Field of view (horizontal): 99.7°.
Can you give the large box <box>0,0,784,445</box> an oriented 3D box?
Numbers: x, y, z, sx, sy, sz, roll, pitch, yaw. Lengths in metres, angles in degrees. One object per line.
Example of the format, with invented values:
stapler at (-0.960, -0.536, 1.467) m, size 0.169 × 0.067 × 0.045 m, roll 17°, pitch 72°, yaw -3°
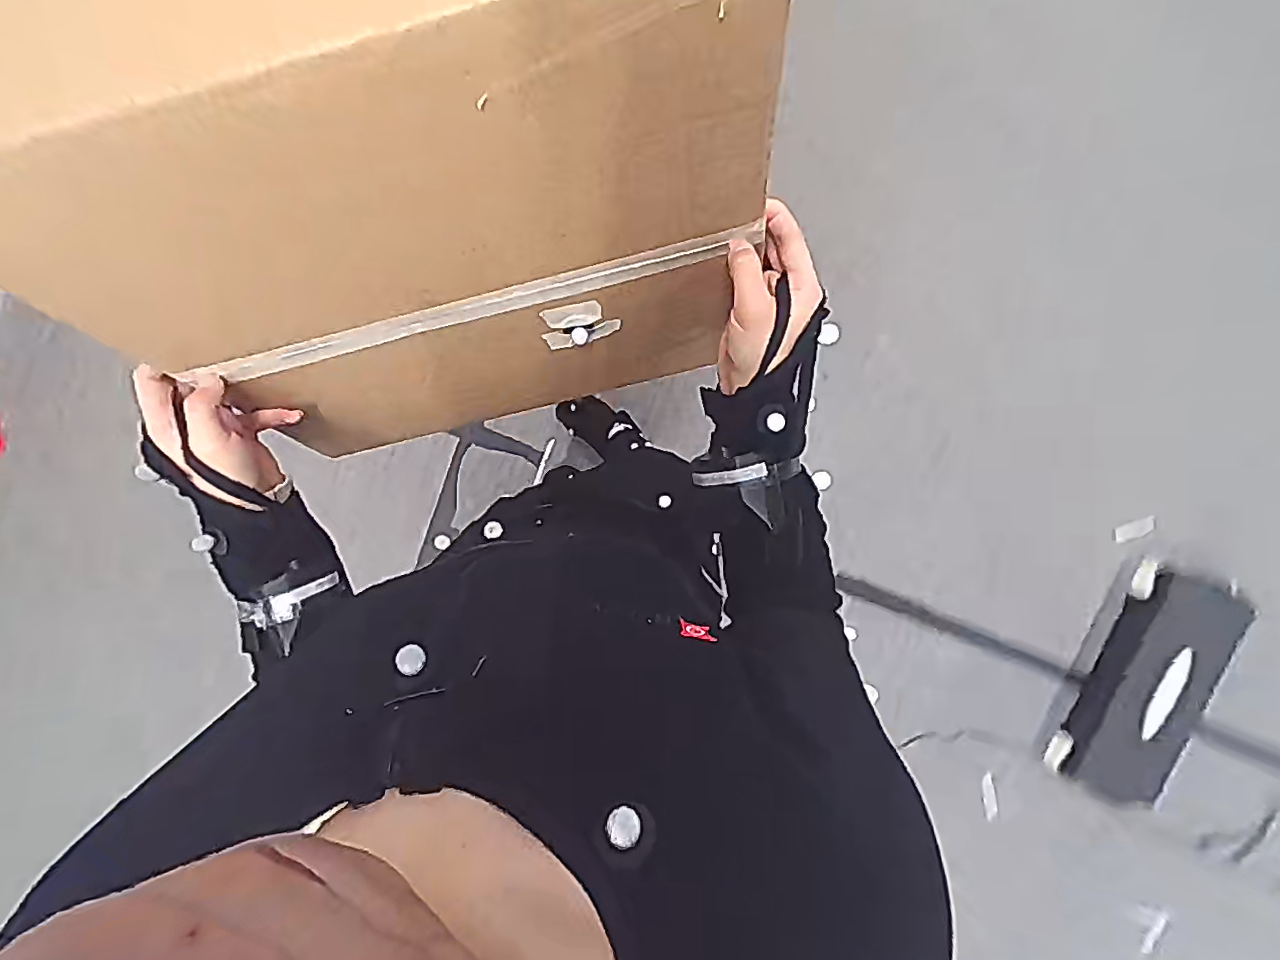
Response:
large box at (-0.143, -0.263, 0.415) m, size 0.408 × 0.320 × 0.320 m, roll -13°, pitch 72°, yaw 3°
